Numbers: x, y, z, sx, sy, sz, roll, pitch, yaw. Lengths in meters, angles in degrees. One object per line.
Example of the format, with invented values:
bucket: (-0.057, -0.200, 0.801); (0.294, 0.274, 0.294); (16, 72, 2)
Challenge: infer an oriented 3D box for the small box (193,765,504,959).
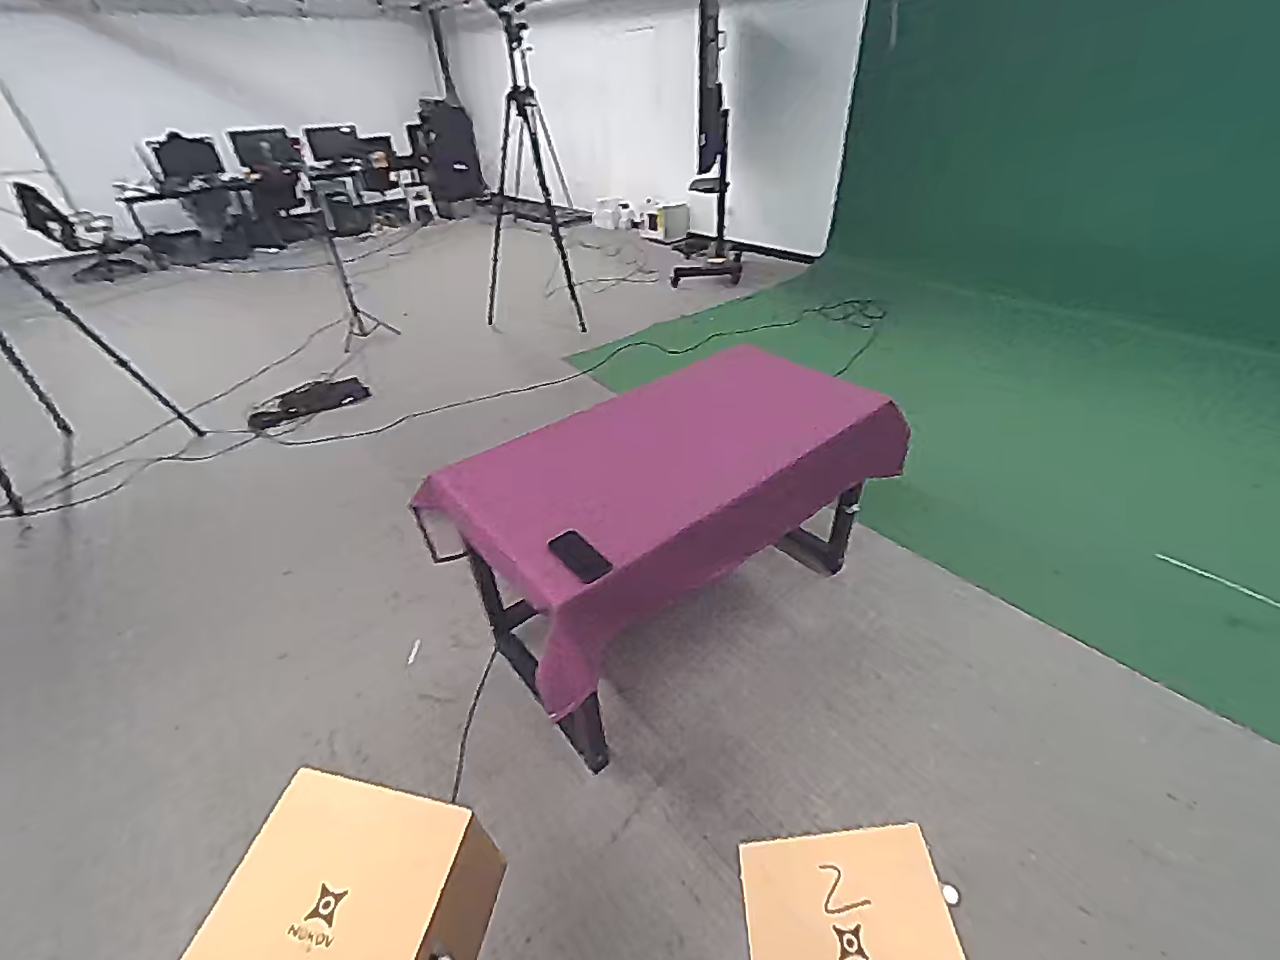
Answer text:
small box: (-0.230, 0.383, 0.467); (0.168, 0.176, 0.179); (9, 45, 10)
